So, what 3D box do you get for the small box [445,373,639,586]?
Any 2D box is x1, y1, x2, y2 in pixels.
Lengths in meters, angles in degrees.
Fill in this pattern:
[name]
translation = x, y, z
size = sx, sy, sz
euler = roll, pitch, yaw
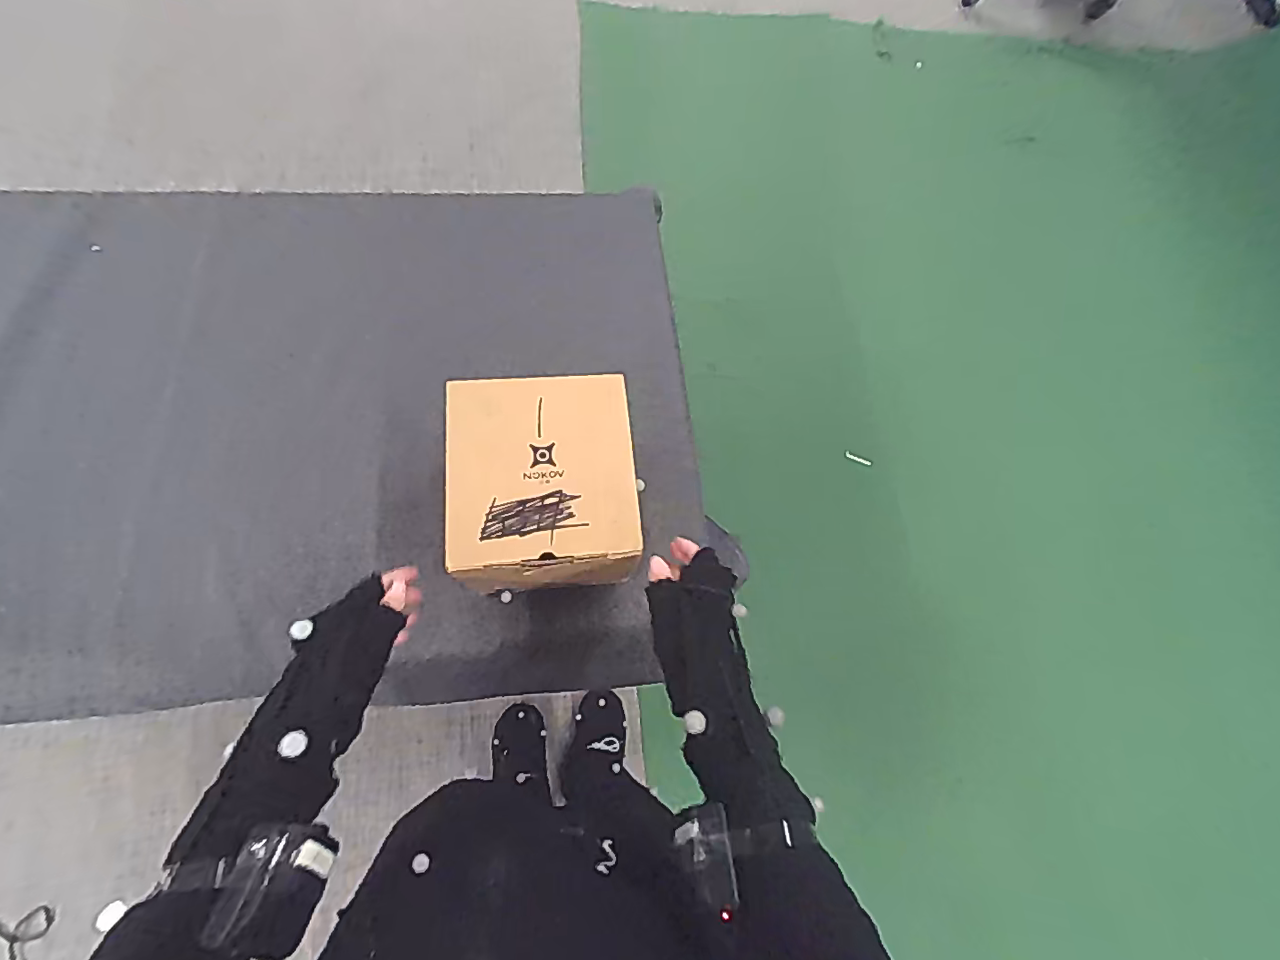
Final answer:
[small box]
translation = -0.096, 0.010, 0.552
size = 0.168, 0.176, 0.179
euler = -4, 72, -8
